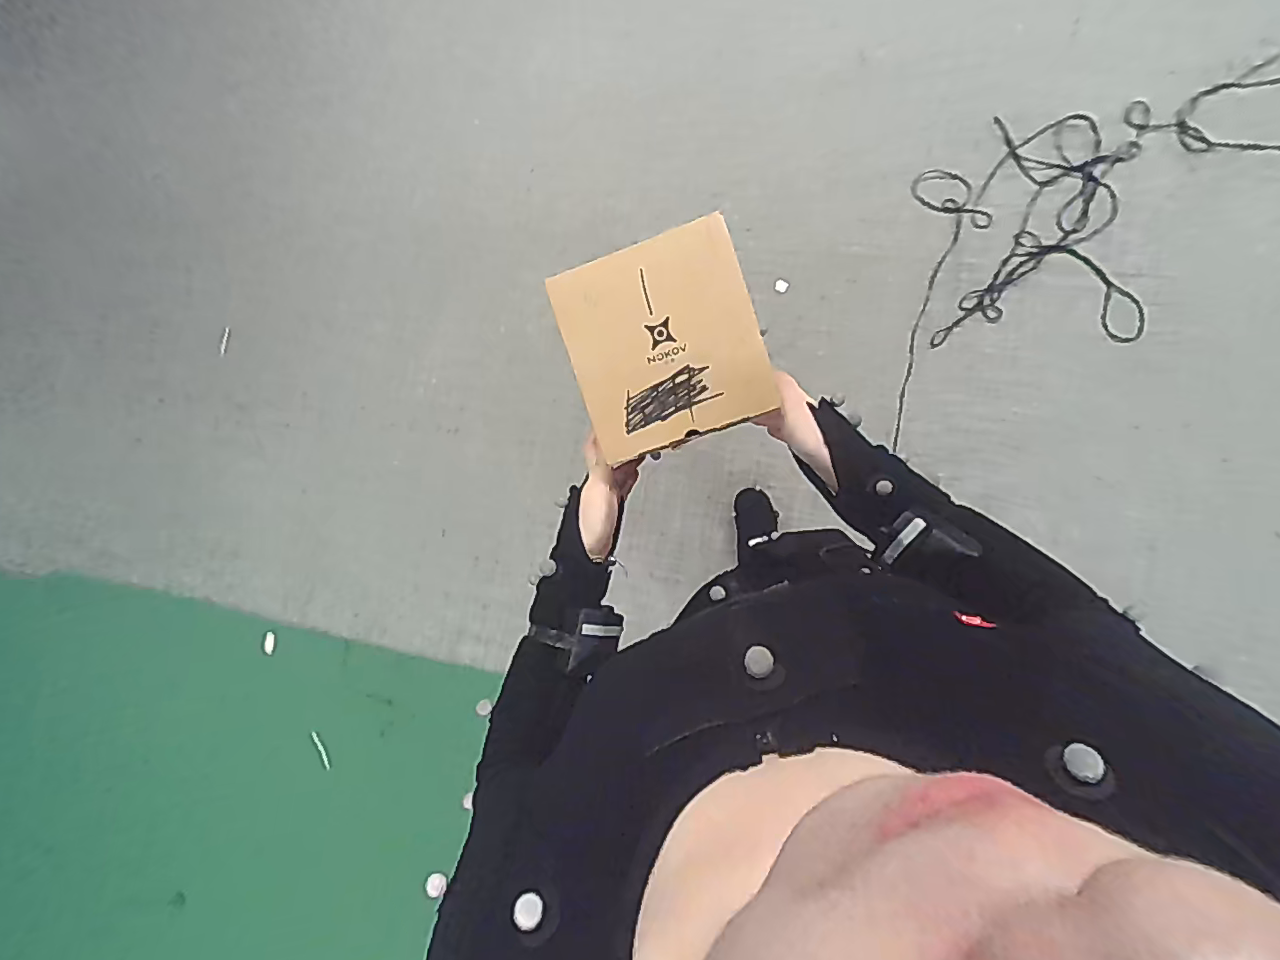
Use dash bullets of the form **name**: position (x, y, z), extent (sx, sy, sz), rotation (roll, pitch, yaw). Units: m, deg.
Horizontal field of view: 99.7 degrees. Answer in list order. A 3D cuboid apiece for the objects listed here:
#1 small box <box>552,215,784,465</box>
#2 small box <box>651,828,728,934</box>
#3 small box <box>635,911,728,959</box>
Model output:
- **small box**: position (0.034, -0.127, 0.546), extent (0.168, 0.176, 0.179), rotation (-17, 94, 8)
- **small box**: position (0.122, 1.015, 1.351), extent (0.168, 0.176, 0.179), rotation (9, 86, 10)
- **small box**: position (0.068, 0.976, 1.028), extent (0.179, 0.176, 0.168), rotation (12, 86, 10)
